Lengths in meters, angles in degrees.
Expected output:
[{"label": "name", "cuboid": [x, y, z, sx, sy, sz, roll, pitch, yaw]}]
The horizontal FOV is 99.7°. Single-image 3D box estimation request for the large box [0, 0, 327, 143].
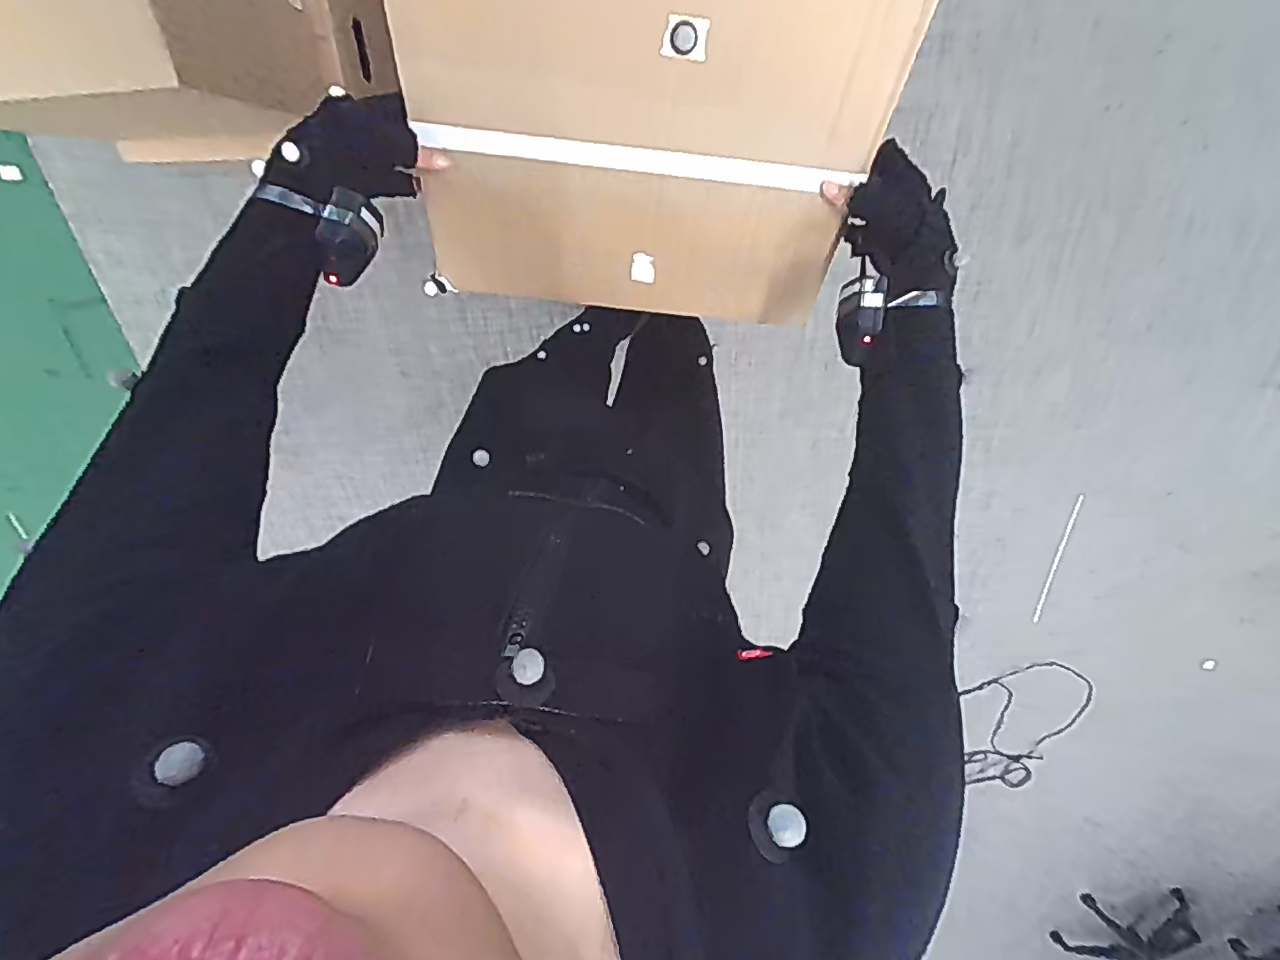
[{"label": "large box", "cuboid": [-0.701, -0.630, 0.670, 0.408, 0.320, 0.320, -2, 116, 2]}]
